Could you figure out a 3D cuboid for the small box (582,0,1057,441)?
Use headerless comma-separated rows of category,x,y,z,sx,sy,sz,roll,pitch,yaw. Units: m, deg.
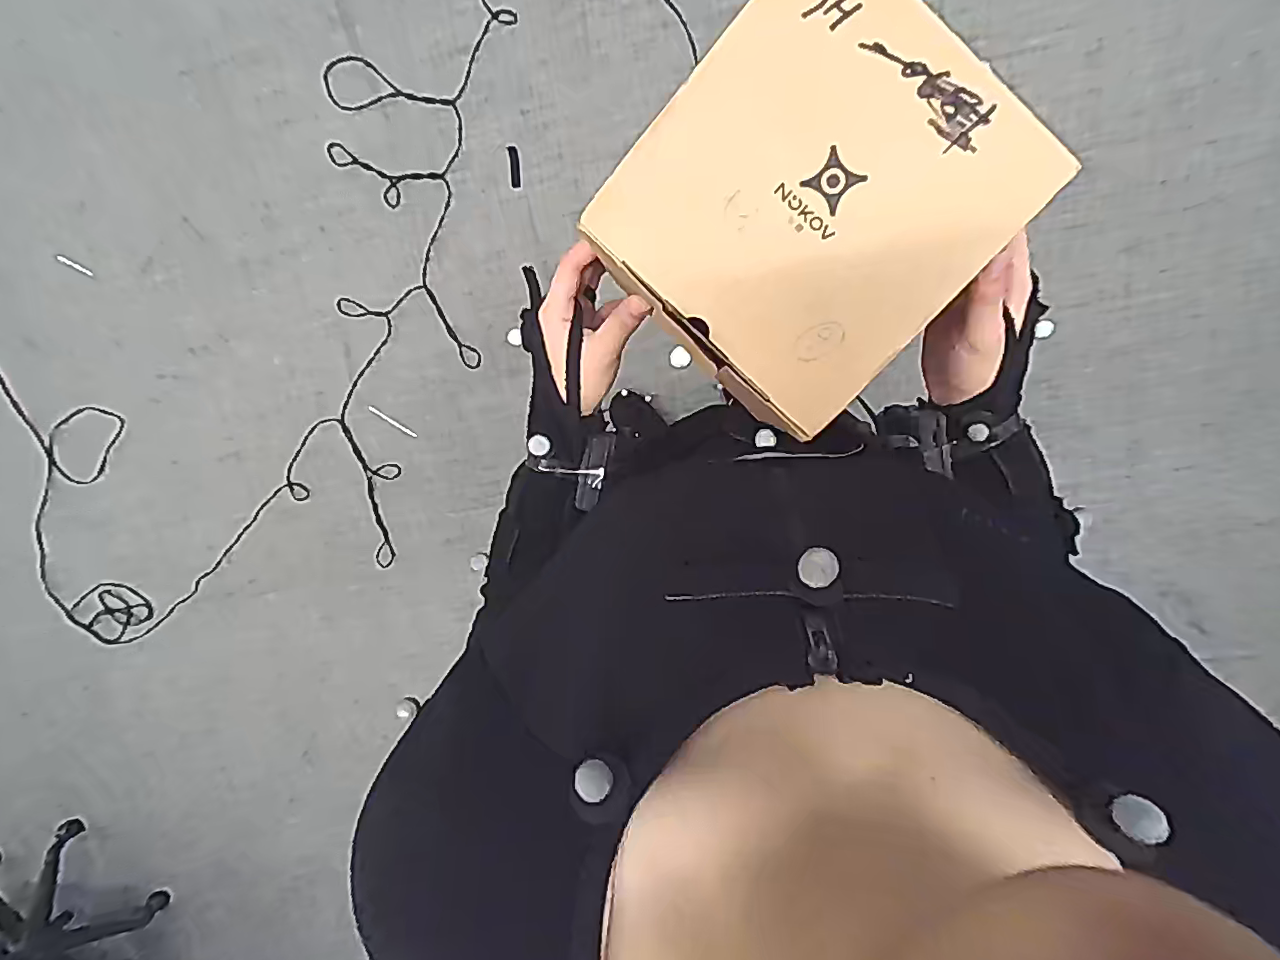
small box,0.093,-0.148,0.348,0.168,0.176,0.179,42,101,-3
